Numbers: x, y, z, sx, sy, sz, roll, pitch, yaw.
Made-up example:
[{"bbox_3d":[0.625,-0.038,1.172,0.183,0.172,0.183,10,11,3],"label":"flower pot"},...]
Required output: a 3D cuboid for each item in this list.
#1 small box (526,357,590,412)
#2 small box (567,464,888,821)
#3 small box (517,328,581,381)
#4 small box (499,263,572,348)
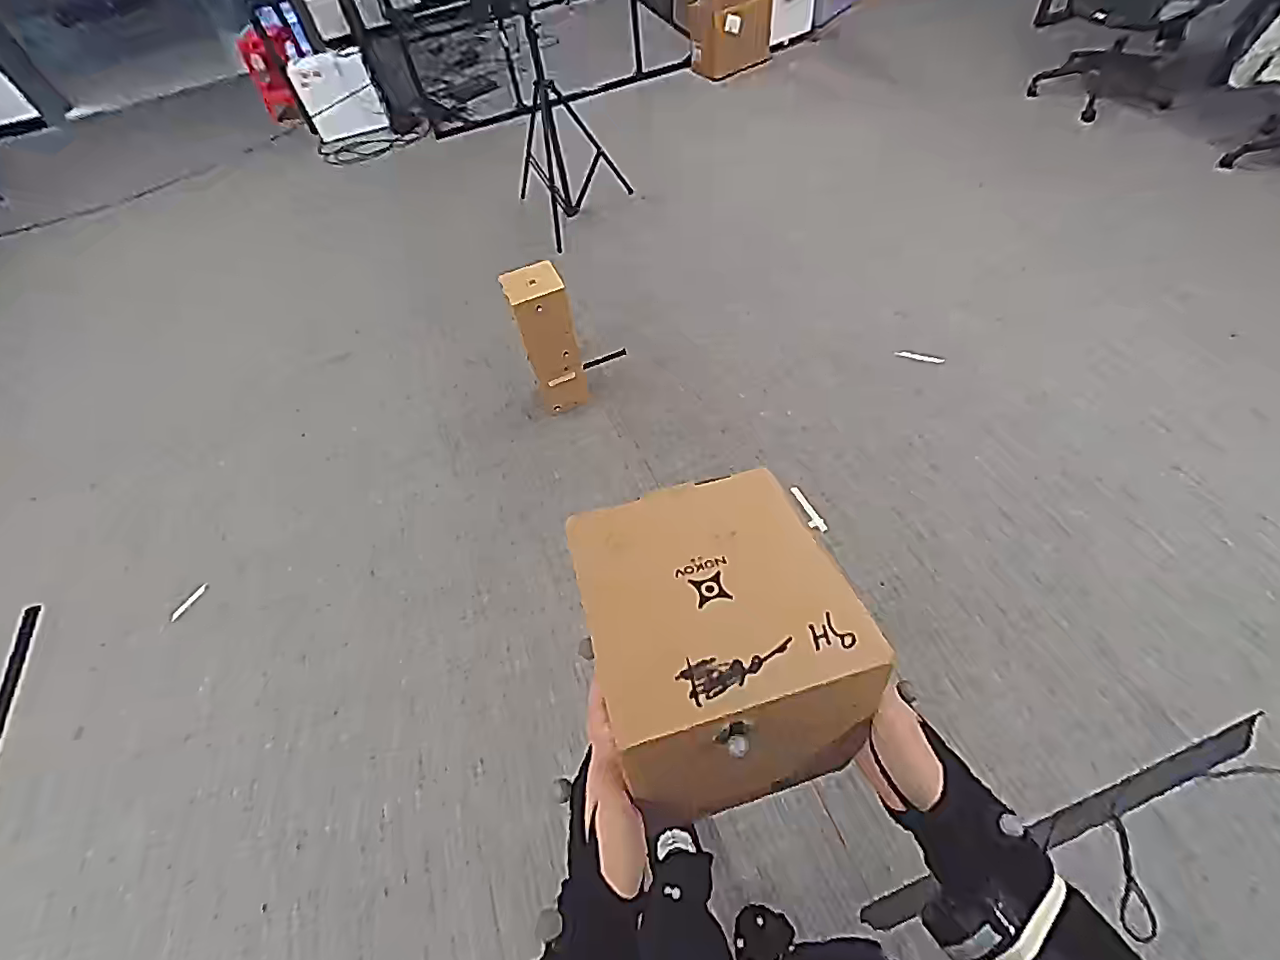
[{"bbox_3d":[-0.299,-0.373,2.003,0.168,0.176,0.179,-23,55,-8],"label":"small box"},{"bbox_3d":[0.050,0.119,0.410,0.168,0.176,0.179,-15,43,-6],"label":"small box"},{"bbox_3d":[-0.315,-0.465,1.871,0.168,0.176,0.179,-23,55,-9],"label":"small box"},{"bbox_3d":[-0.330,-0.559,1.739,0.179,0.176,0.168,-23,57,-9],"label":"small box"}]
